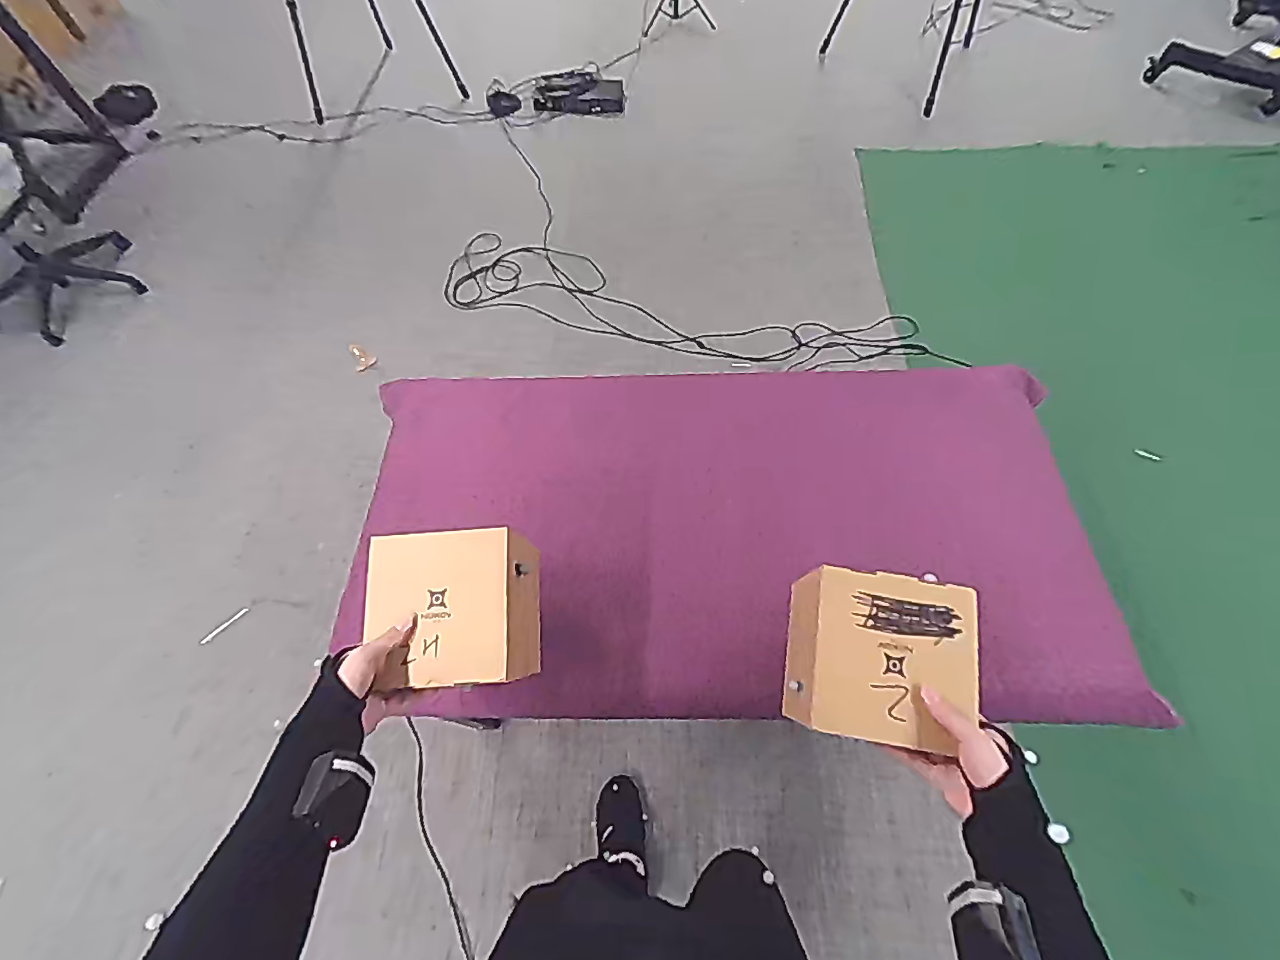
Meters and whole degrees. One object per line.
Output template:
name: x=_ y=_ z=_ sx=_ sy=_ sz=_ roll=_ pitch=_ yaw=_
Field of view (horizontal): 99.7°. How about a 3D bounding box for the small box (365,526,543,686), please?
small box: x=-0.226 y=0.166 z=0.700 sx=0.168 sy=0.176 sz=0.179 roll=-4 pitch=73 yaw=2
